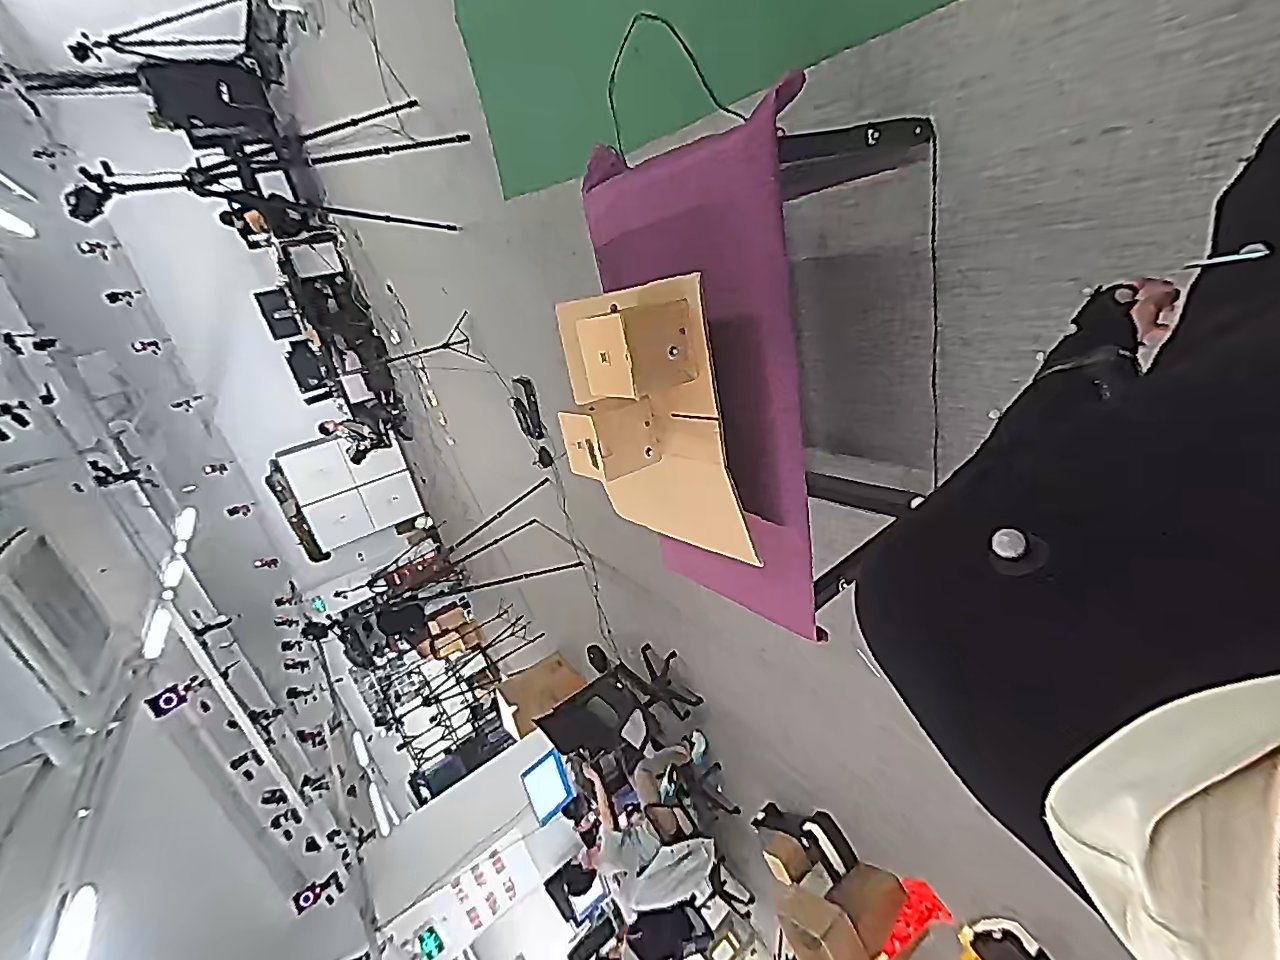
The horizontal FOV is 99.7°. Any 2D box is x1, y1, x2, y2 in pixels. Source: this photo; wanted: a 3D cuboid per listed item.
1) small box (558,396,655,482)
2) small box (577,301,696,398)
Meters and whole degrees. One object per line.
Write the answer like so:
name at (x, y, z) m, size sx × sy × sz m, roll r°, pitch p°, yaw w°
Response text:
small box at (-0.077, -0.109, 1.355) m, size 0.179 × 0.176 × 0.168 m, roll 15°, pitch 122°, yaw 53°
small box at (-0.006, -0.276, 1.142) m, size 0.179 × 0.176 × 0.168 m, roll 14°, pitch 121°, yaw 52°
